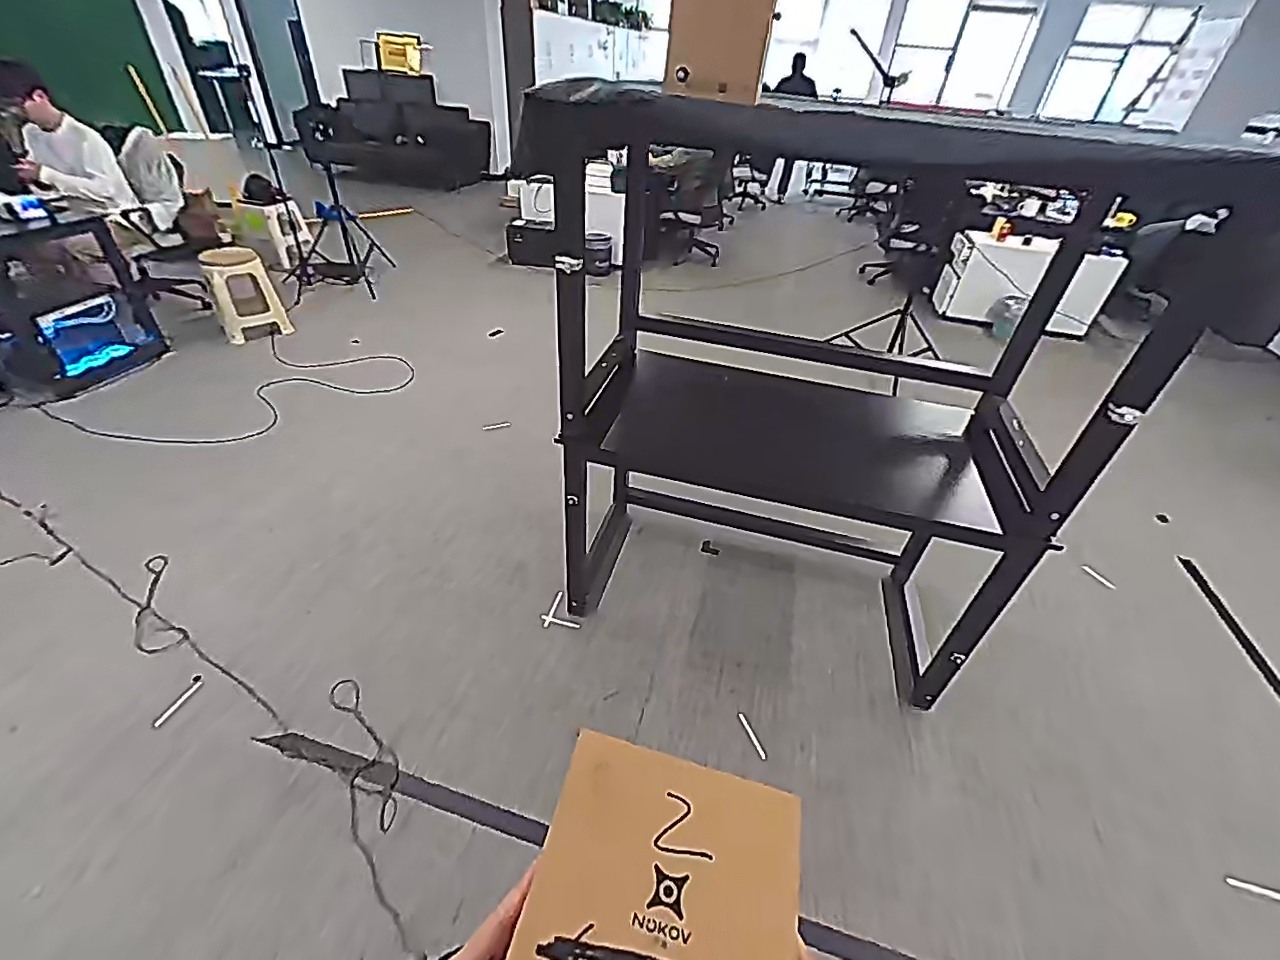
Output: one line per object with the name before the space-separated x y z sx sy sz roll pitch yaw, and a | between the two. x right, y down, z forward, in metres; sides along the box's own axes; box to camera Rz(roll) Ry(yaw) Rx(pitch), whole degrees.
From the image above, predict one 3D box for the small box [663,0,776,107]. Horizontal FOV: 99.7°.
small box | 0.139 -0.762 0.947 0.168 0.176 0.179 12 36 6
